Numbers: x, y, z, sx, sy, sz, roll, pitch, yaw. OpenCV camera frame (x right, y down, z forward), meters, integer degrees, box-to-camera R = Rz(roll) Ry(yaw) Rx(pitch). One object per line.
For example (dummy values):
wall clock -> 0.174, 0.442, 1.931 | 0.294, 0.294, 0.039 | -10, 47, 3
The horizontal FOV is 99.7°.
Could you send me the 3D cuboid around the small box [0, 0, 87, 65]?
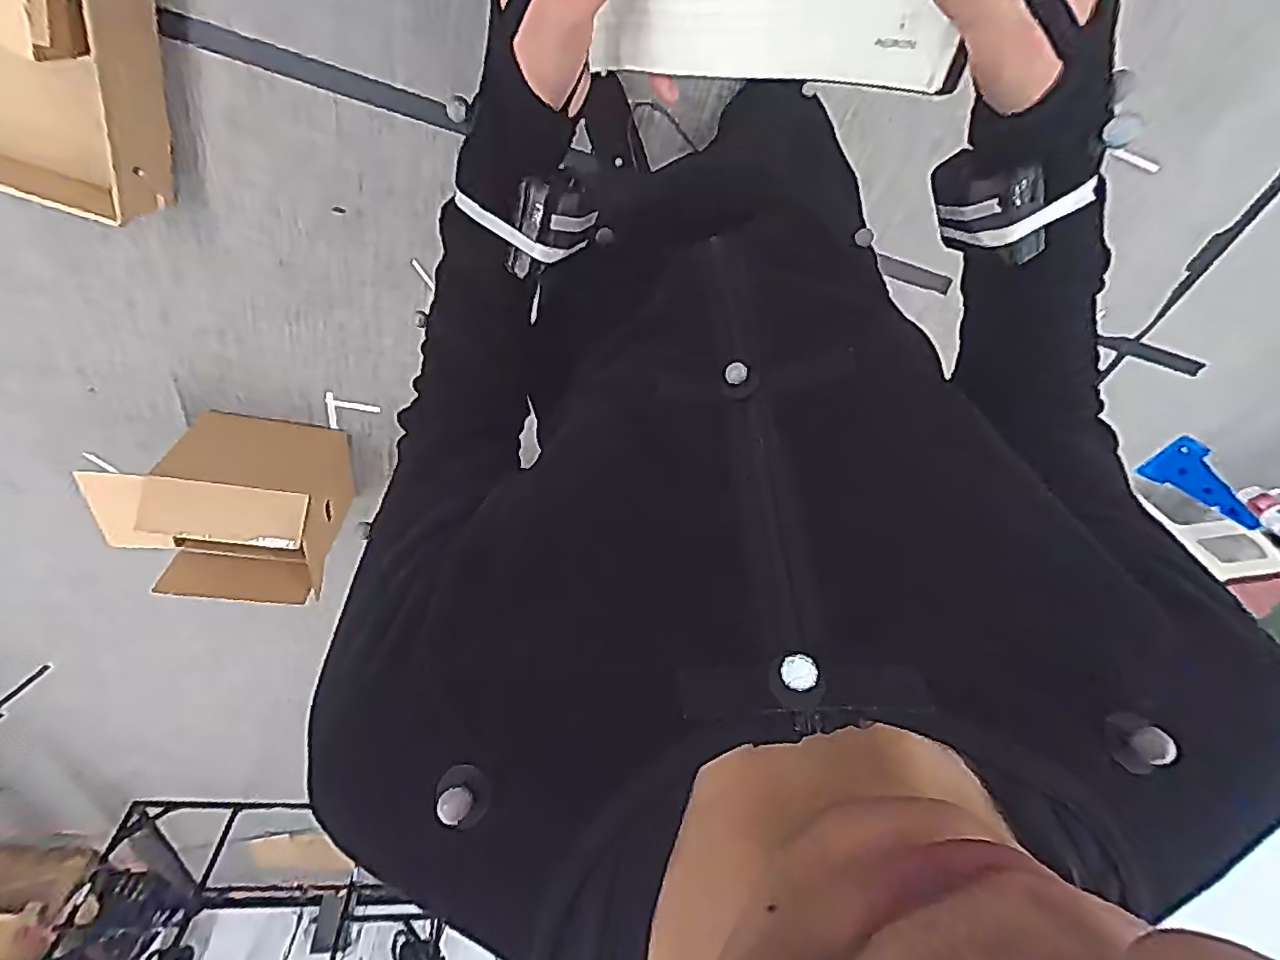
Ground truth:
small box -> -1.102, -0.861, 0.926 | 0.179, 0.176, 0.168 | 22, 126, -23
